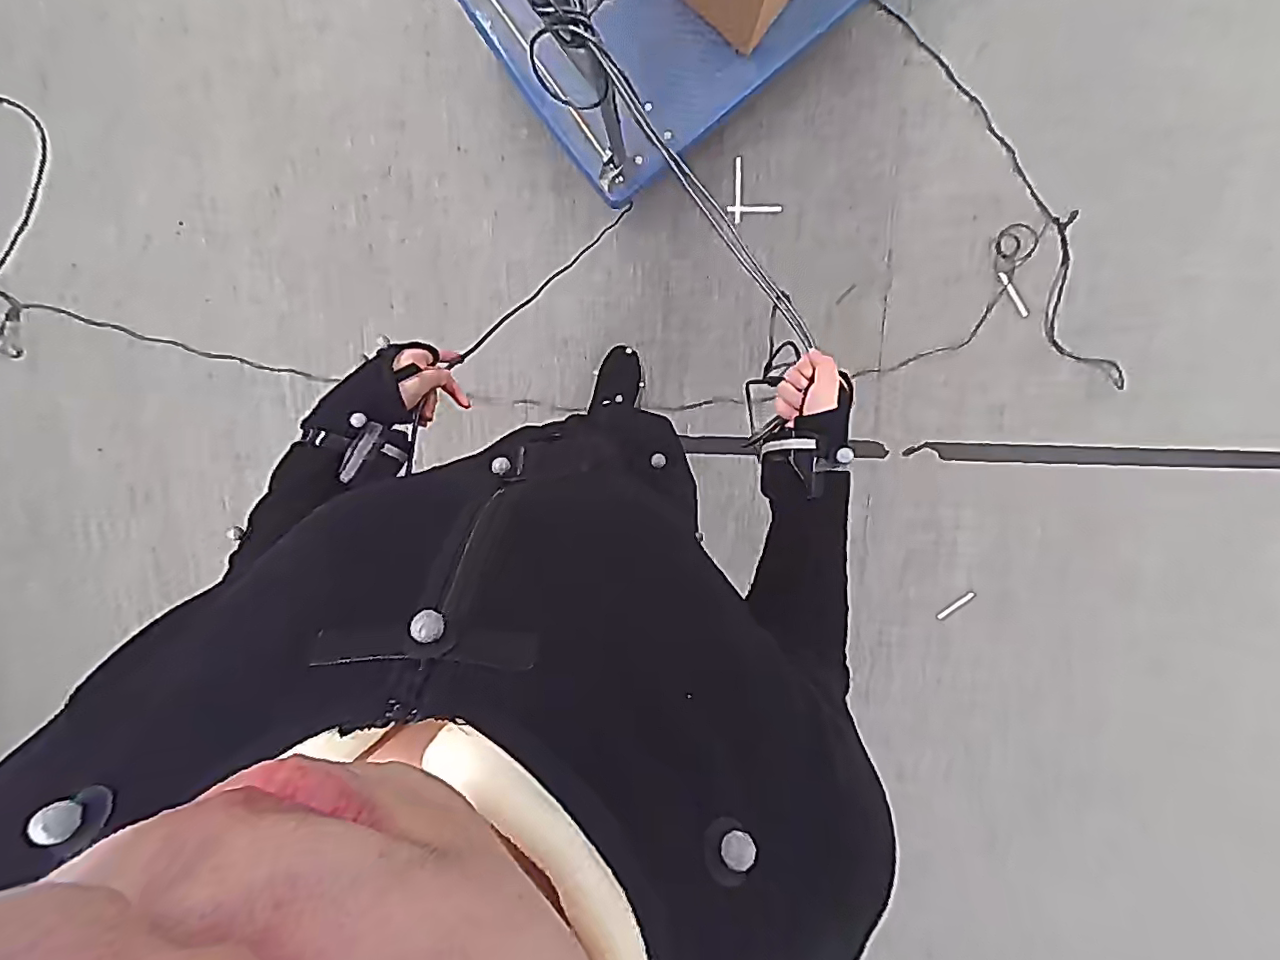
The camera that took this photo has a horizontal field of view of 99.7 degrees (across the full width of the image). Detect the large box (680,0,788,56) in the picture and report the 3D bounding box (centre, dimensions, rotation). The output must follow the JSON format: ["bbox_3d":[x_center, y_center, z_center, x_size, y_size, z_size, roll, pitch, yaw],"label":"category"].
[{"bbox_3d":[0.157,-1.092,0.949,0.408,0.320,0.320,37,100,-7],"label":"large box"}]
